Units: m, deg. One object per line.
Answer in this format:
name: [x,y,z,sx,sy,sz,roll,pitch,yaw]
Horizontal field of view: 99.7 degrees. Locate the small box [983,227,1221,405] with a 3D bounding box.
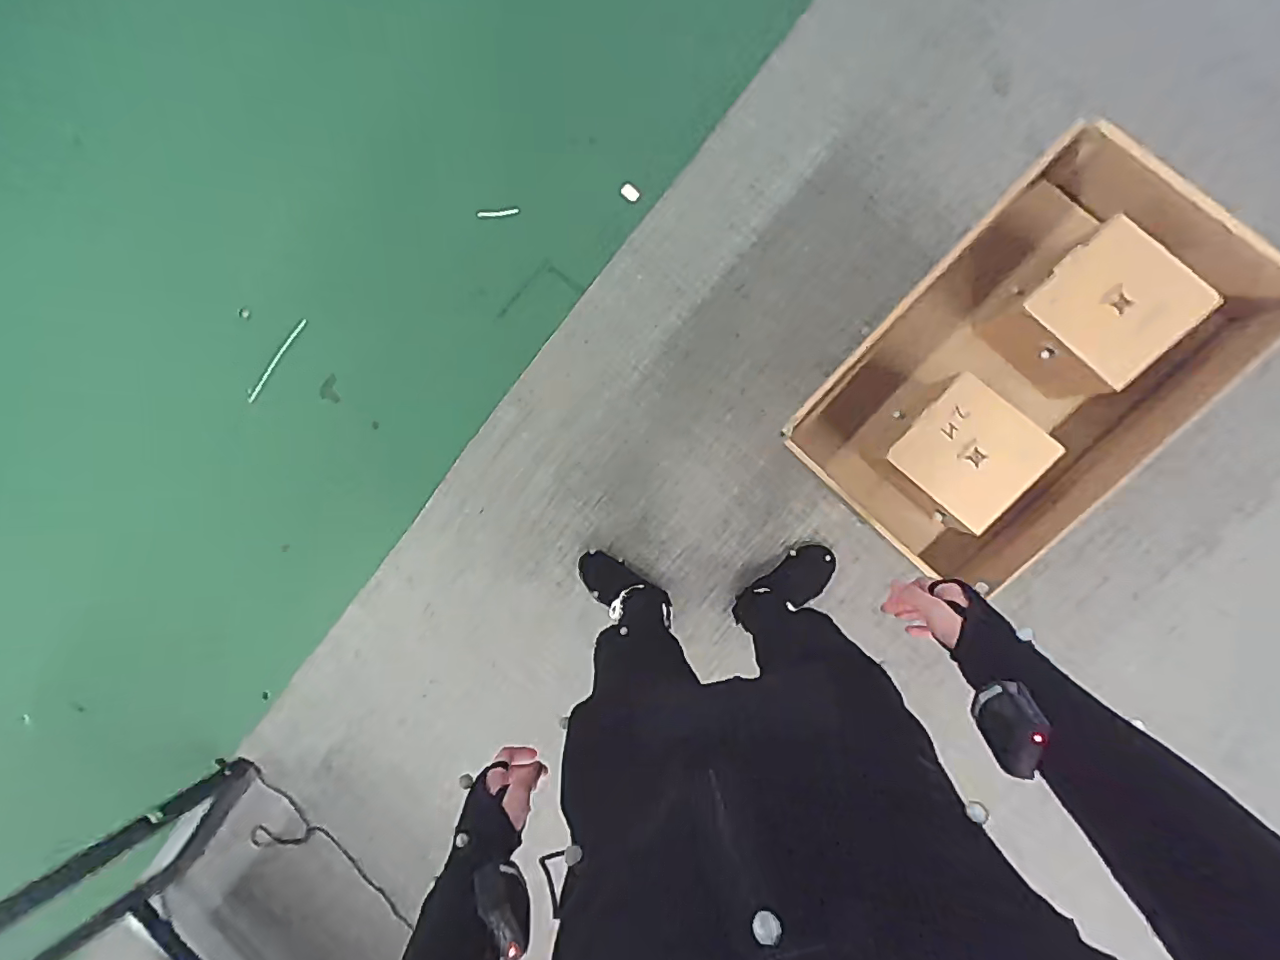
small box: [0.668,-0.230,0.813,0.168,0.176,0.179,-44,85,9]

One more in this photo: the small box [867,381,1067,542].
small box: [0.493,-0.030,0.848,0.179,0.176,0.168,43,98,7]
